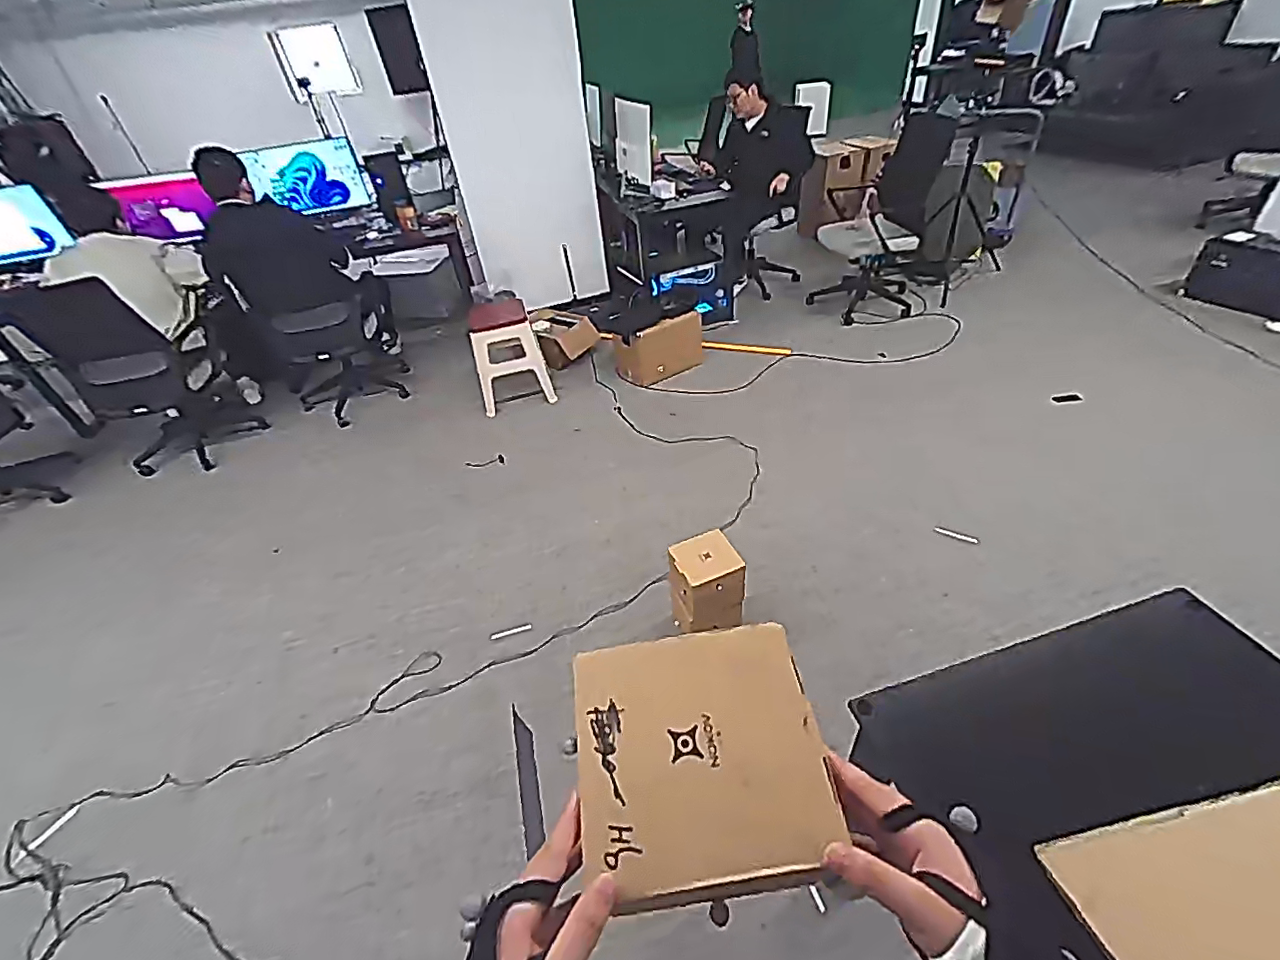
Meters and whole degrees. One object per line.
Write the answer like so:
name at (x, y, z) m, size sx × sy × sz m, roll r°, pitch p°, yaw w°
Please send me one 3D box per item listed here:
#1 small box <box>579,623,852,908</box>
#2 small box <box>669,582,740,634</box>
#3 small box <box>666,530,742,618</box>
small box at (0.047, 0.242, 0.457) m, size 0.179 × 0.176 × 0.168 m, roll -7°, pitch 48°, yaw -2°
small box at (0.204, 0.412, 1.728) m, size 0.179 × 0.176 × 0.168 m, roll -18°, pitch 41°, yaw -11°
small box at (0.193, 0.286, 1.625) m, size 0.179 × 0.176 × 0.168 m, roll -19°, pitch 42°, yaw -14°
